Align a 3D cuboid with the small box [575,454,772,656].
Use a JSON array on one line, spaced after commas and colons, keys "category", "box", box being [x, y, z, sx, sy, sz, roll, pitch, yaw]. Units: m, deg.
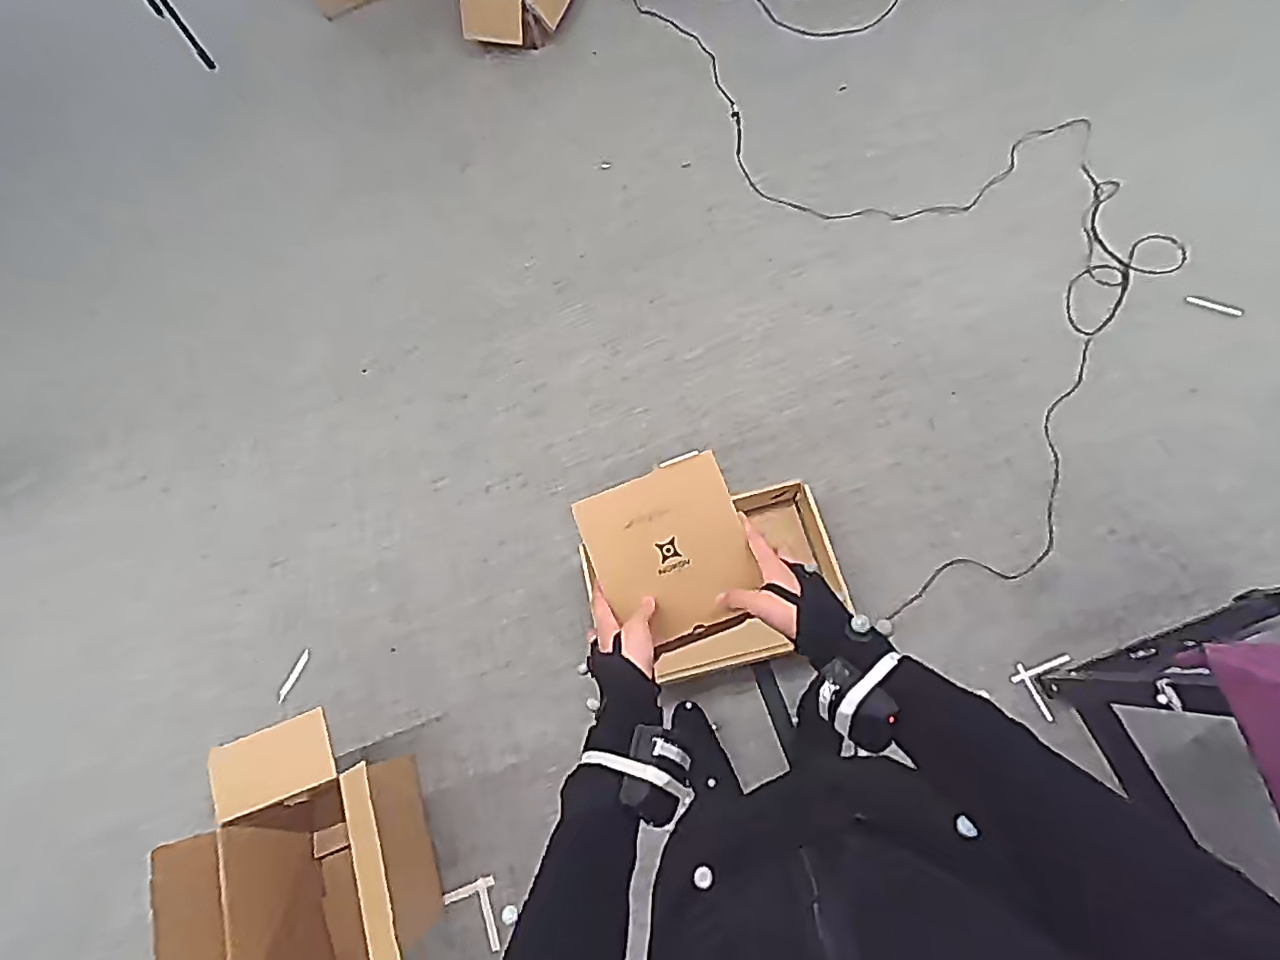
[{"category": "small box", "box": [0.041, 0.082, 0.651, 0.168, 0.176, 0.179, -21, 85, 2]}]
